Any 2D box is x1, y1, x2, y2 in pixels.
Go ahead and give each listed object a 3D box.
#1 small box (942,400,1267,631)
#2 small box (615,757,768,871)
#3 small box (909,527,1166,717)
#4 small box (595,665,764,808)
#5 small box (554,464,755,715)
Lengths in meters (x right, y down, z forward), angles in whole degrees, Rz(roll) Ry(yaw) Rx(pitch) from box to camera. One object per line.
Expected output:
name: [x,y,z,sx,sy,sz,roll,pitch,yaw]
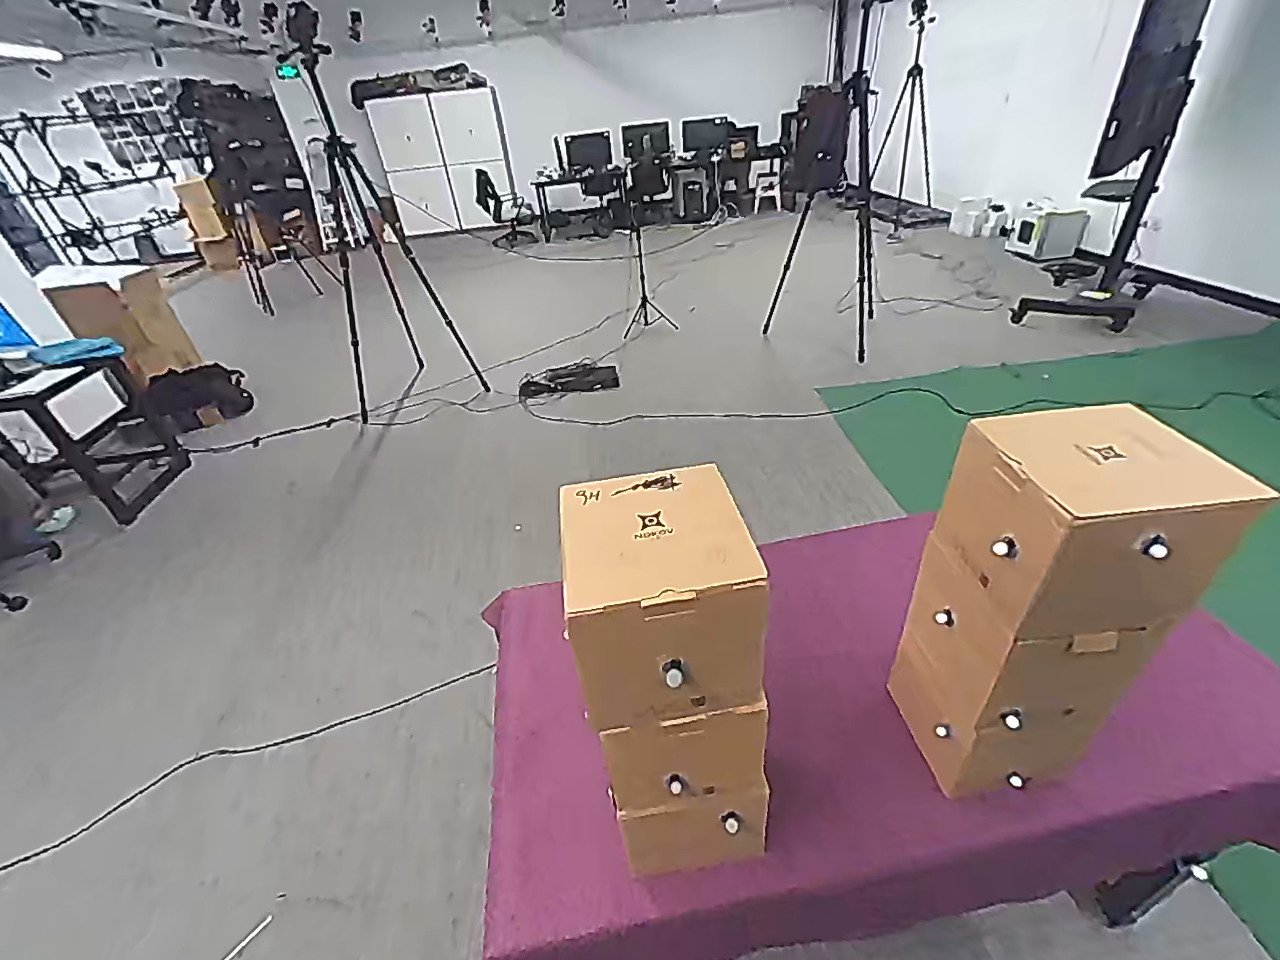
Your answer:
small box: [0.439,0.038,0.558,0.179,0.176,0.168,-6,37,2]
small box: [0.059,0.382,0.716,0.179,0.176,0.168,-9,34,-2]
small box: [0.455,0.166,0.657,0.168,0.176,0.179,-7,34,1]
small box: [0.038,0.244,0.630,0.168,0.176,0.179,-8,36,-1]
small box: [0.011,0.111,0.538,0.168,0.176,0.179,-9,36,-3]
